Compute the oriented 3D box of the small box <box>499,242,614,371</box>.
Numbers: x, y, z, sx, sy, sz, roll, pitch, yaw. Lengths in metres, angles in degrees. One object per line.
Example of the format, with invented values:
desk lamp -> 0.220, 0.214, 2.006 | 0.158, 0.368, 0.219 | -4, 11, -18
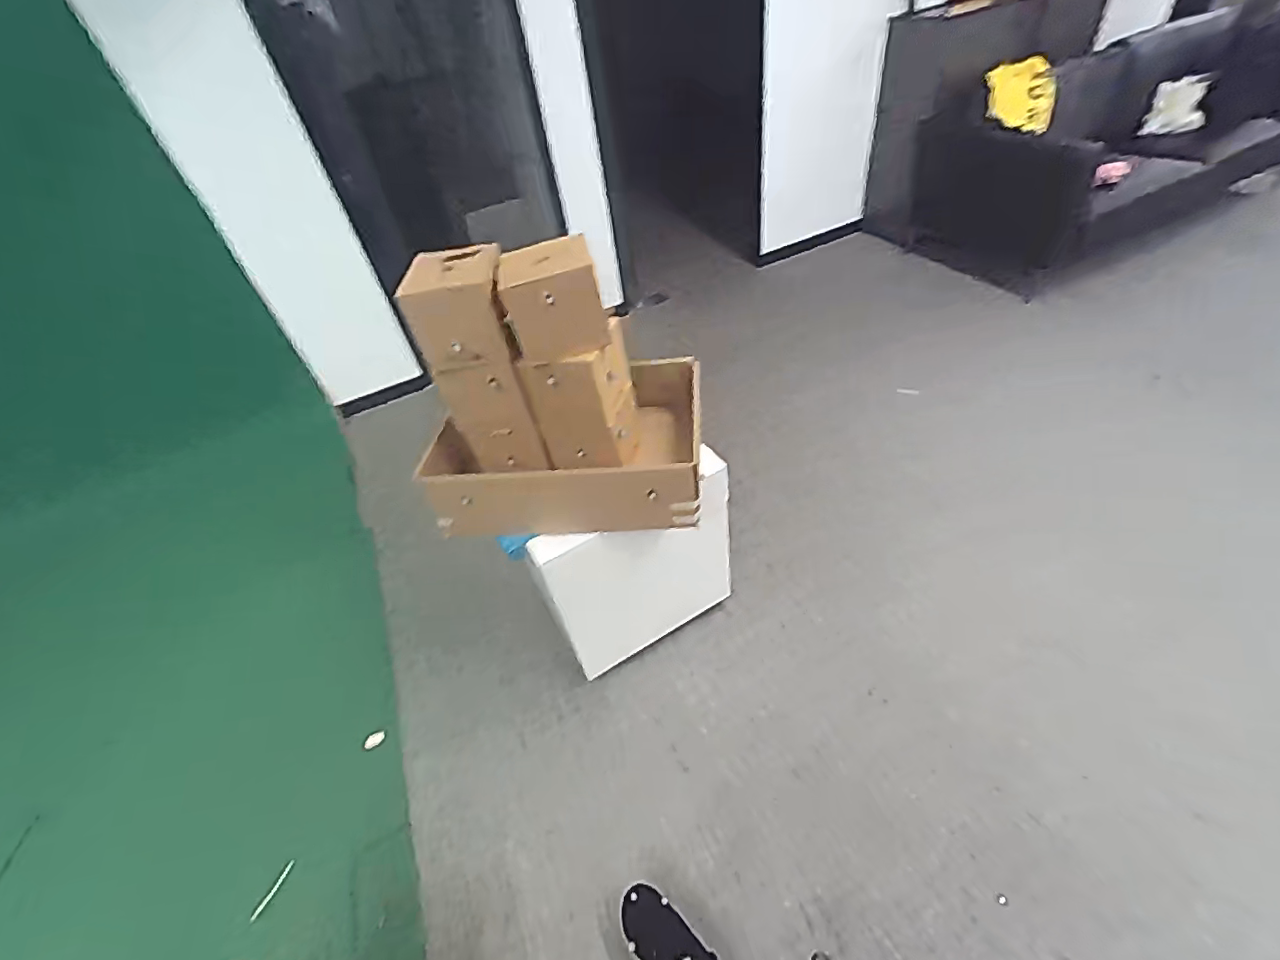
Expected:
small box -> -0.162, -0.337, 1.064 | 0.179, 0.176, 0.168 | -15, 43, 0
